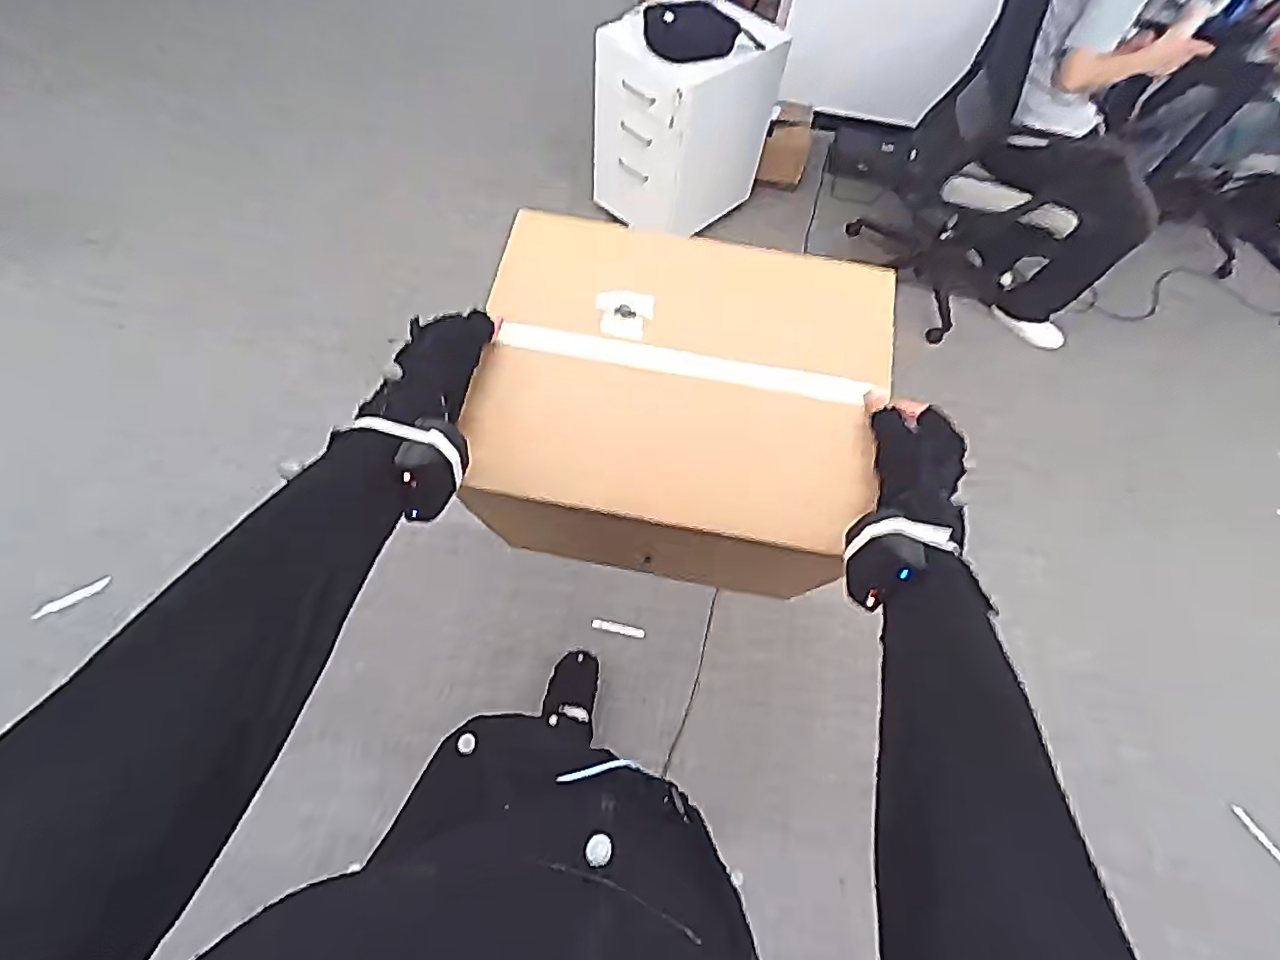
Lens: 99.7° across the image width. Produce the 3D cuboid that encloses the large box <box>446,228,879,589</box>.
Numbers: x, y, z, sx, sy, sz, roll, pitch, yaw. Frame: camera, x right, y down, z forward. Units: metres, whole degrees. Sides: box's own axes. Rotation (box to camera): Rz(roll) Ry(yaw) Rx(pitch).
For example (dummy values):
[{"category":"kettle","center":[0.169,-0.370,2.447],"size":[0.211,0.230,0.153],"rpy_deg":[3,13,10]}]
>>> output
[{"category":"large box","center":[0.039,-0.061,0.687],"size":[0.408,0.320,0.320],"rpy_deg":[11,71,4]}]
